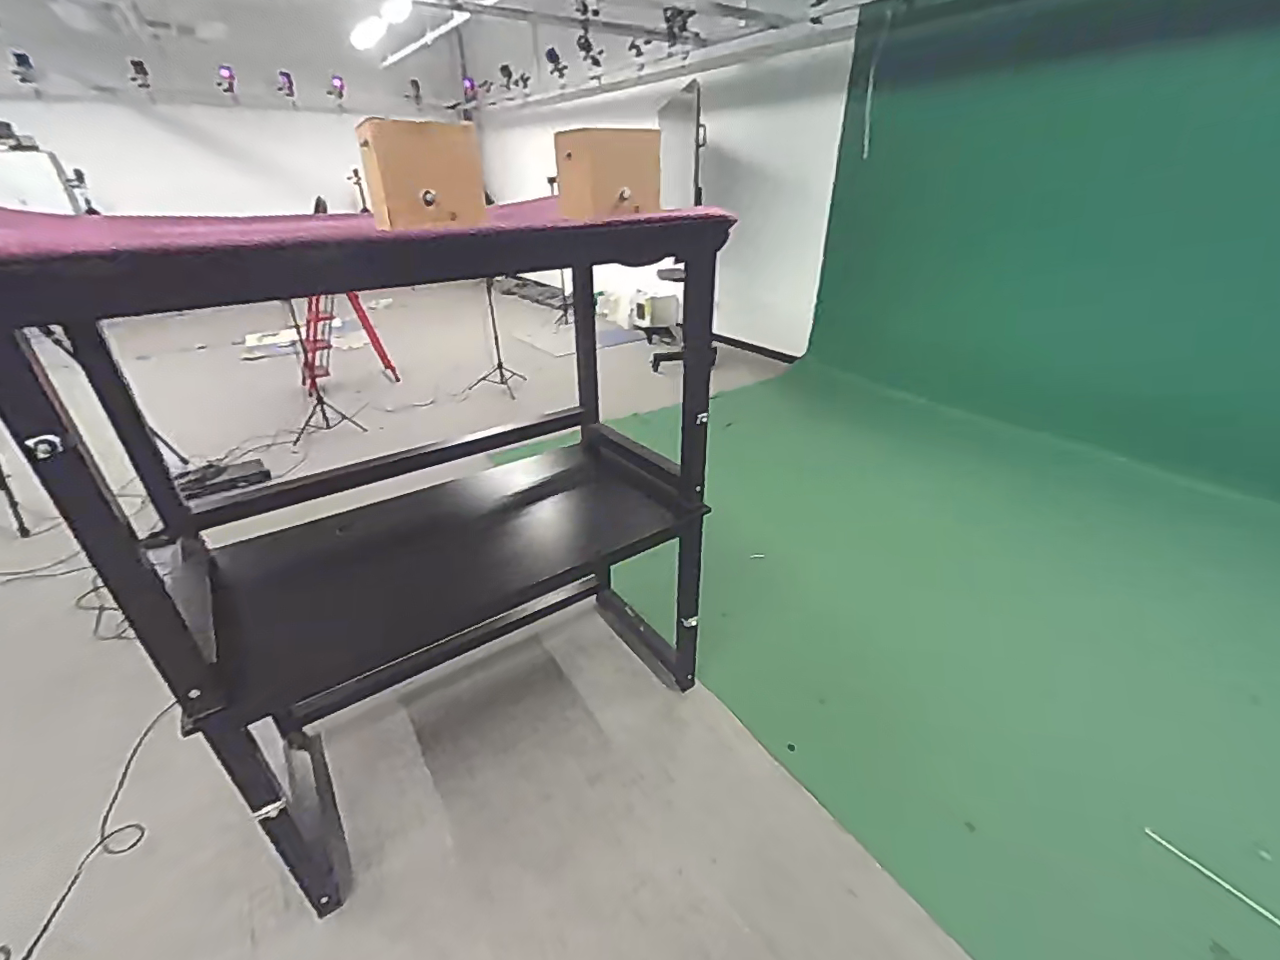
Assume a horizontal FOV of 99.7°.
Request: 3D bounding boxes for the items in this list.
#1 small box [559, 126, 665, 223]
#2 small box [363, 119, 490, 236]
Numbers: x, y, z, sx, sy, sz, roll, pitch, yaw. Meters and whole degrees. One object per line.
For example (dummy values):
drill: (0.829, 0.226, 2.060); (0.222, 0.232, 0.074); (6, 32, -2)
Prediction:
small box: (-0.060, -0.648, 1.154); (0.168, 0.176, 0.179); (-17, 34, -25)
small box: (-0.382, -0.536, 0.971); (0.168, 0.176, 0.179); (-17, 32, -26)
